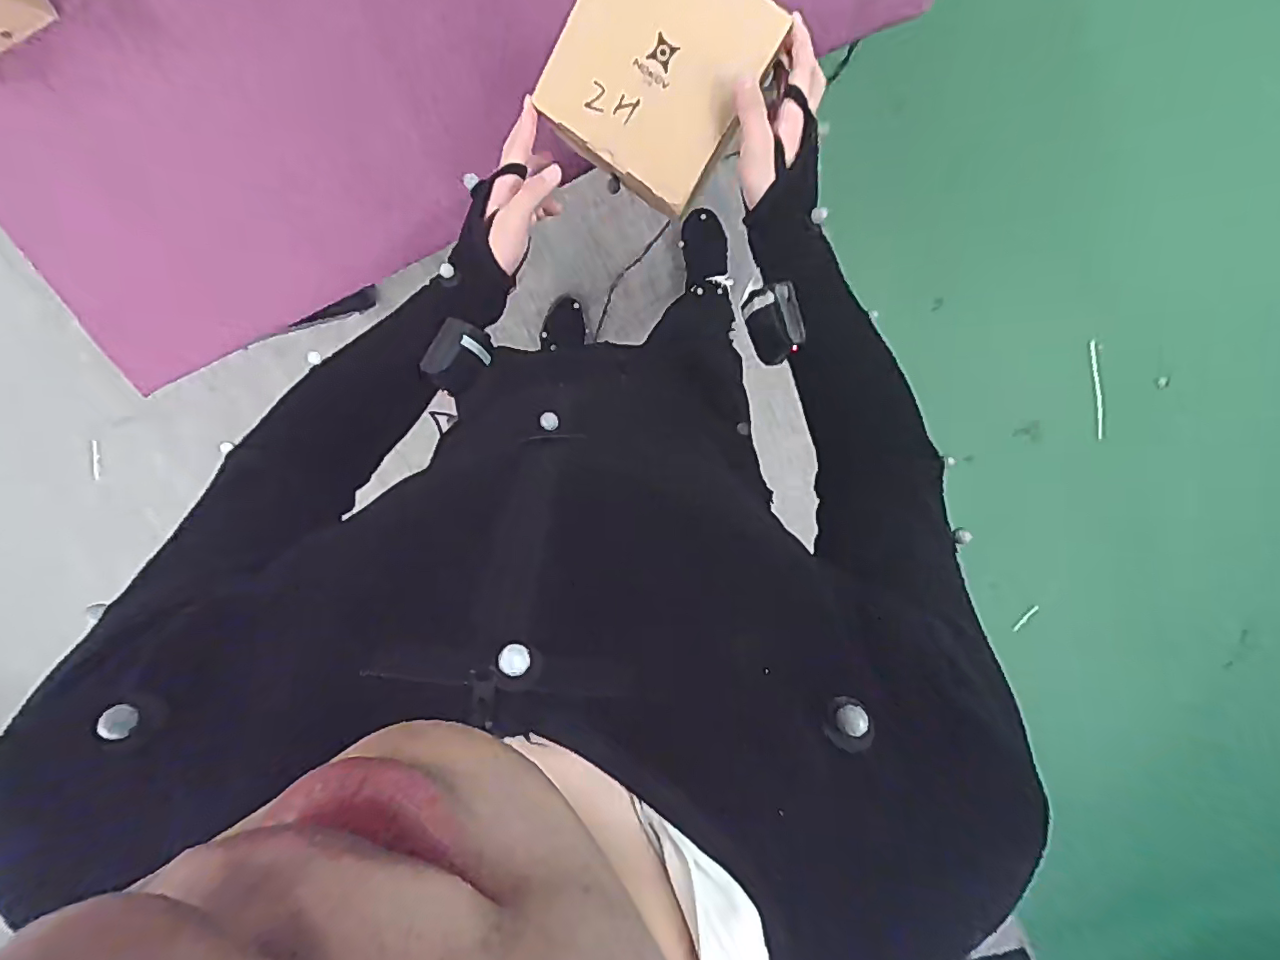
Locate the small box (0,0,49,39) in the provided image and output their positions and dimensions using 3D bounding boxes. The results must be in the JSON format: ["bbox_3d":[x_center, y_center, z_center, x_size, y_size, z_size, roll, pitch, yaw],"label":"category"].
[{"bbox_3d":[-0.810,-0.577,0.562,0.168,0.176,0.179,-20,113,8],"label":"small box"}]
